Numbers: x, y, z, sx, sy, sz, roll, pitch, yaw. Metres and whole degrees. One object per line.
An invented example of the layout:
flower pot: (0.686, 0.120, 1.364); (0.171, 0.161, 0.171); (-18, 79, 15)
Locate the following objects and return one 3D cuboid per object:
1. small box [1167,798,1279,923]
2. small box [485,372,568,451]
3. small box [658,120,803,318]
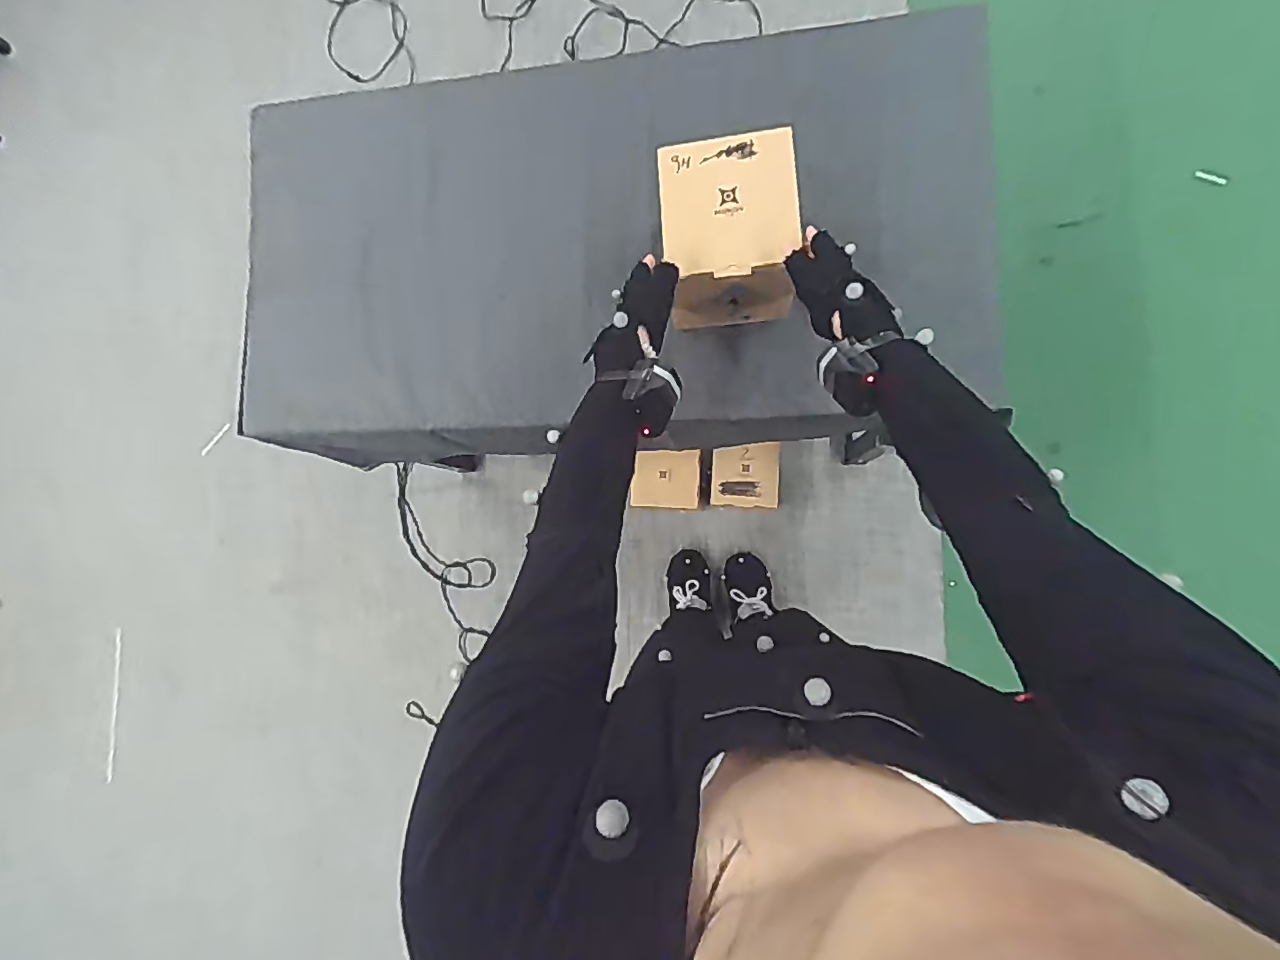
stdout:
small box: (1.295, 0.813, 1.168); (0.179, 0.176, 0.168); (-3, 85, 8)
small box: (-0.308, -0.186, 1.505); (0.168, 0.176, 0.179); (7, 85, 10)
small box: (0.117, -0.327, 0.718); (0.168, 0.176, 0.179); (-4, 85, 8)
